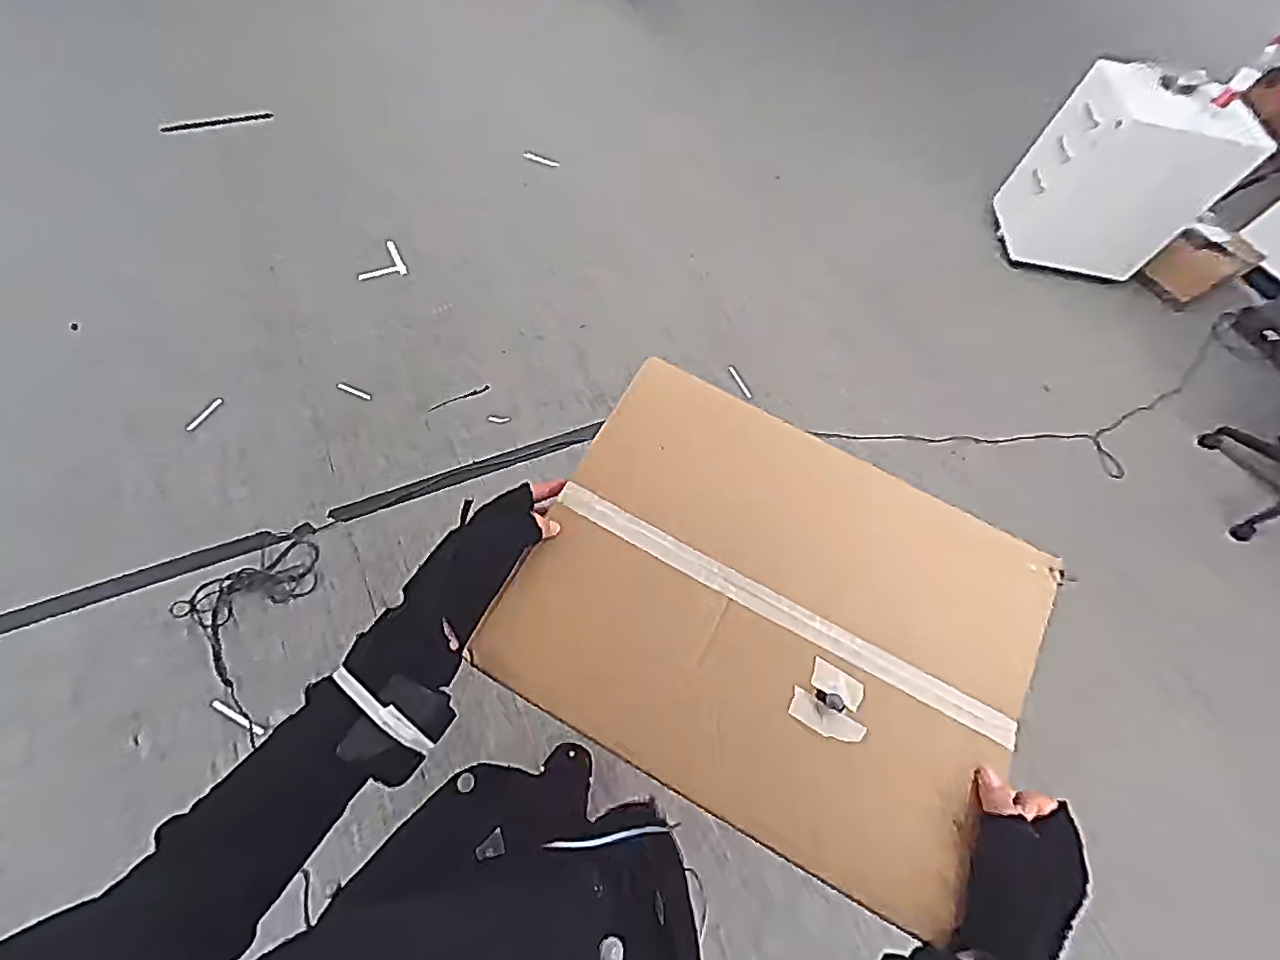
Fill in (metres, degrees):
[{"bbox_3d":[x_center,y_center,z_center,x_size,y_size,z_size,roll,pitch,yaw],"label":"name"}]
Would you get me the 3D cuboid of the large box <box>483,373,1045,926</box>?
[{"bbox_3d":[0.107,0.155,0.597,0.408,0.320,0.320,29,74,7],"label":"large box"}]
